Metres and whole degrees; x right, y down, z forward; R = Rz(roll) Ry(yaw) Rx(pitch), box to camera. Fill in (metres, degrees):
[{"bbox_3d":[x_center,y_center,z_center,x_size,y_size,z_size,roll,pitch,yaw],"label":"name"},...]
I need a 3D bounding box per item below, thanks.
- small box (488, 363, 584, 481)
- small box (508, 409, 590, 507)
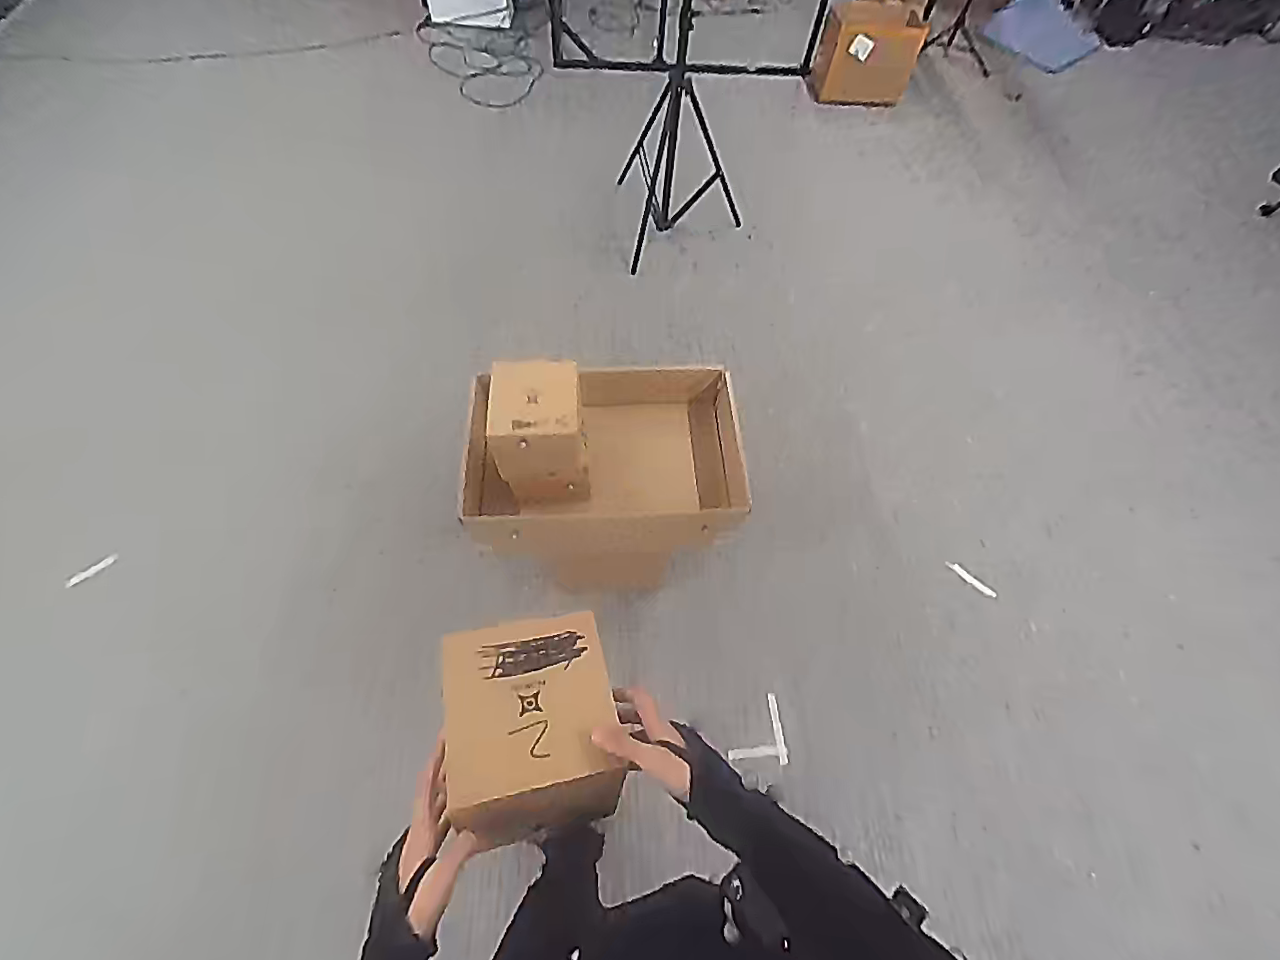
[{"bbox_3d":[-0.200,-0.113,1.087,0.168,0.176,0.179,-1,60,-3],"label":"small box"},{"bbox_3d":[-0.207,-0.051,1.239,0.179,0.176,0.168,-6,61,-6],"label":"small box"}]
